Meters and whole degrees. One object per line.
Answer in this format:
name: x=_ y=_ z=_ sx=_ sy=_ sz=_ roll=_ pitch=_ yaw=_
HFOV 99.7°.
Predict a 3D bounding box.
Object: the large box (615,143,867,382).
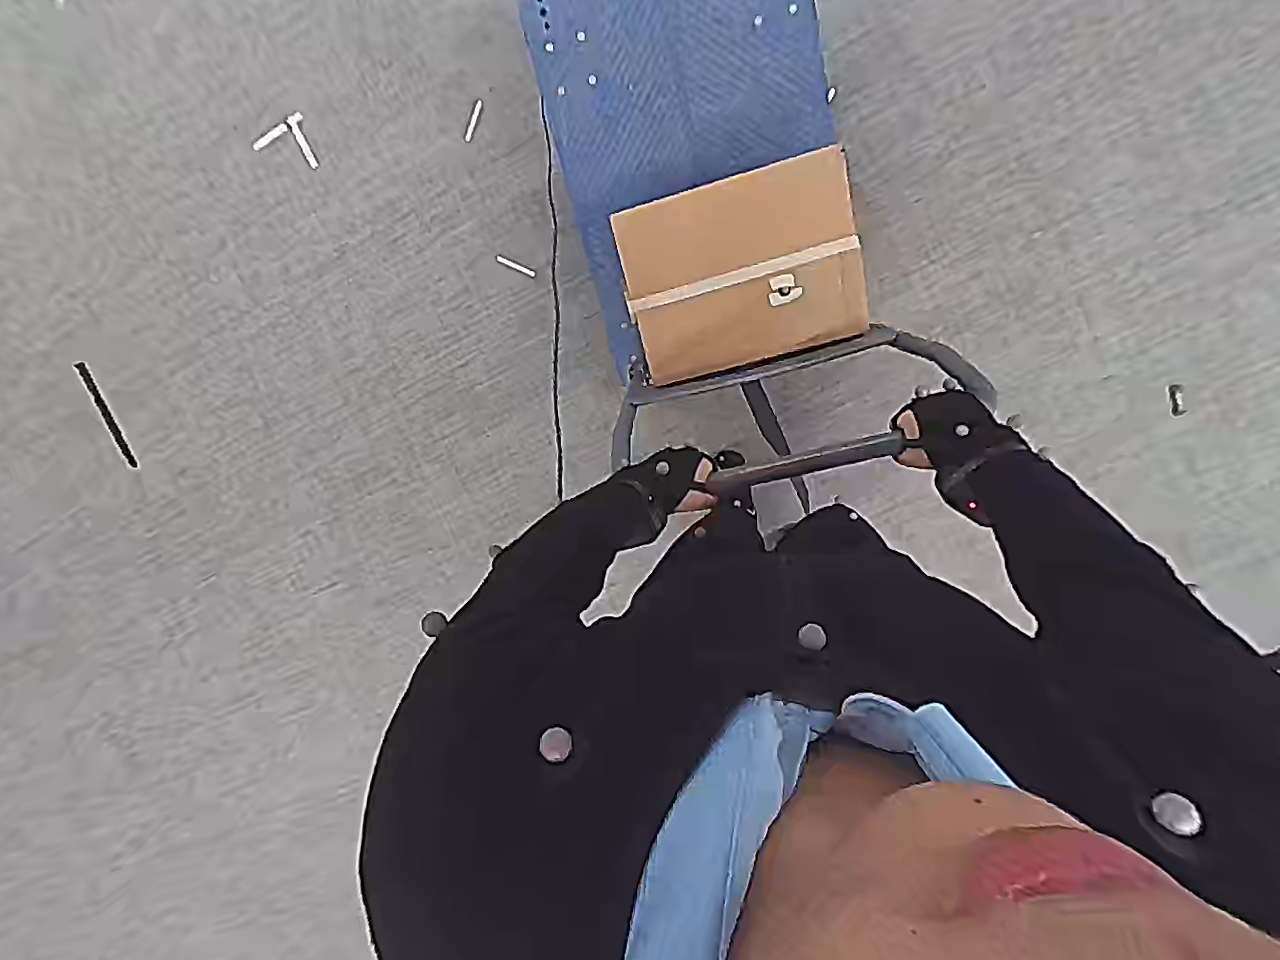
large box: x=0.193 y=-0.420 z=1.114 sx=0.408 sy=0.320 sz=0.320 roll=-14 pitch=107 yaw=8
